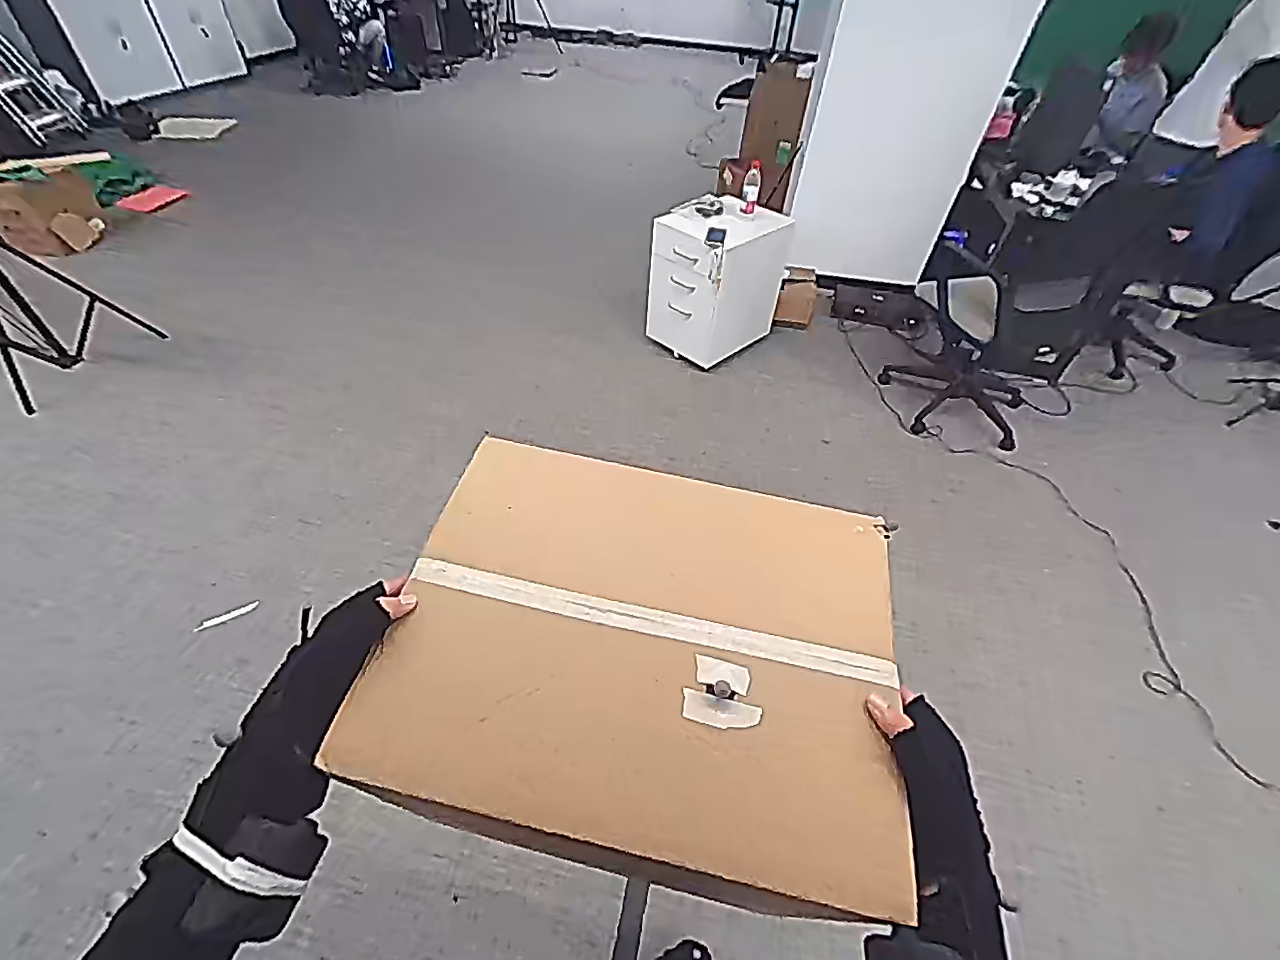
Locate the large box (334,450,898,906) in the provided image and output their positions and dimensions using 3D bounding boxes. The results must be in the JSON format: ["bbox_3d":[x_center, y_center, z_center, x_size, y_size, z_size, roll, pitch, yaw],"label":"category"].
[{"bbox_3d":[-0.007,0.213,0.573,0.408,0.320,0.320,12,53,4],"label":"large box"}]
